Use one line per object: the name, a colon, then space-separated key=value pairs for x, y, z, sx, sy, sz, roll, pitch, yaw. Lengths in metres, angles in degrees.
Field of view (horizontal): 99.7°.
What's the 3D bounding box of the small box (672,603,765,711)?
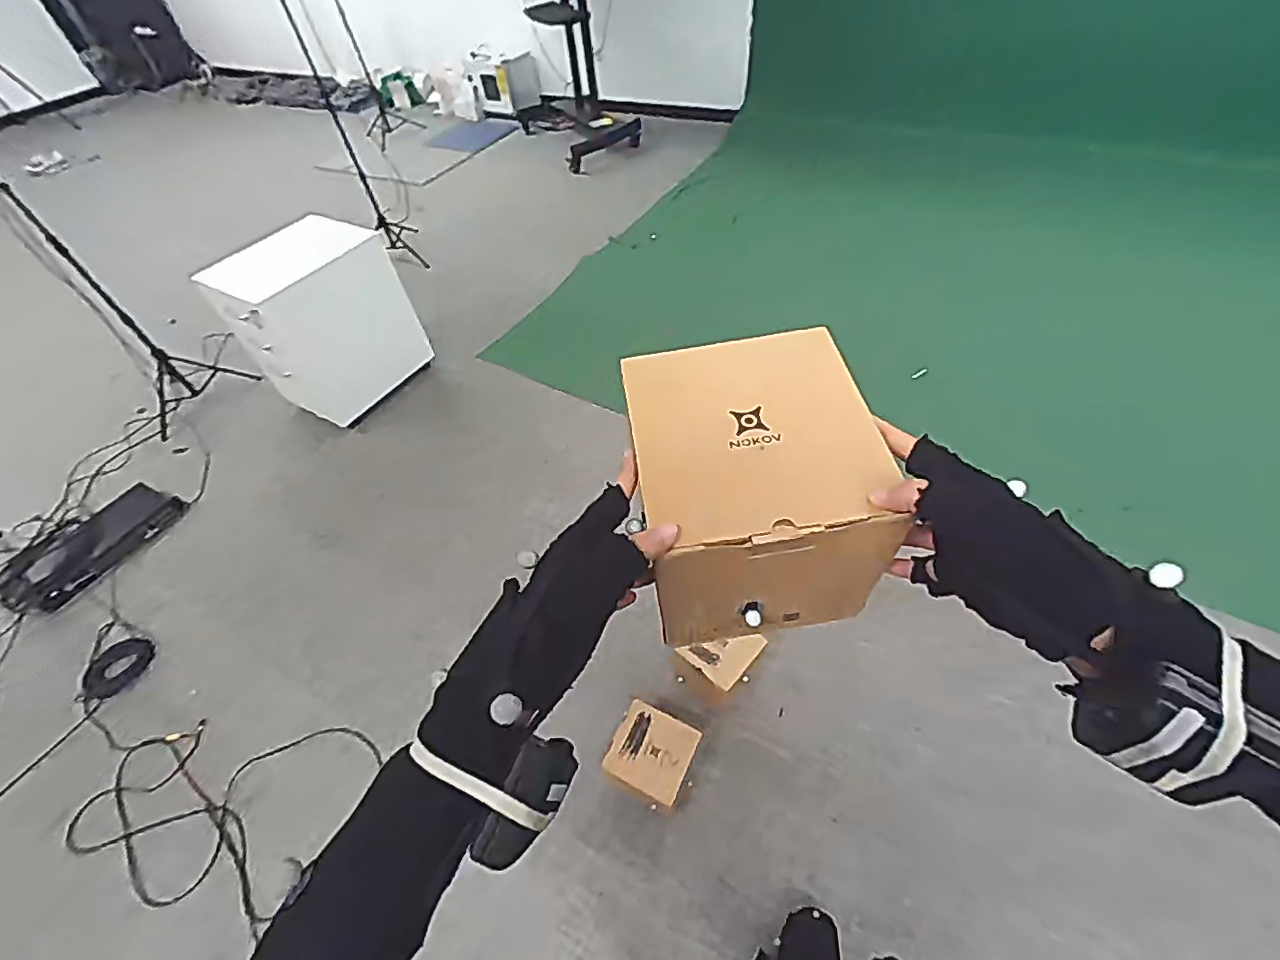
small box: x=0.203 y=0.463 z=1.402 sx=0.168 sy=0.176 sz=0.179 roll=35 pitch=60 yaw=29
